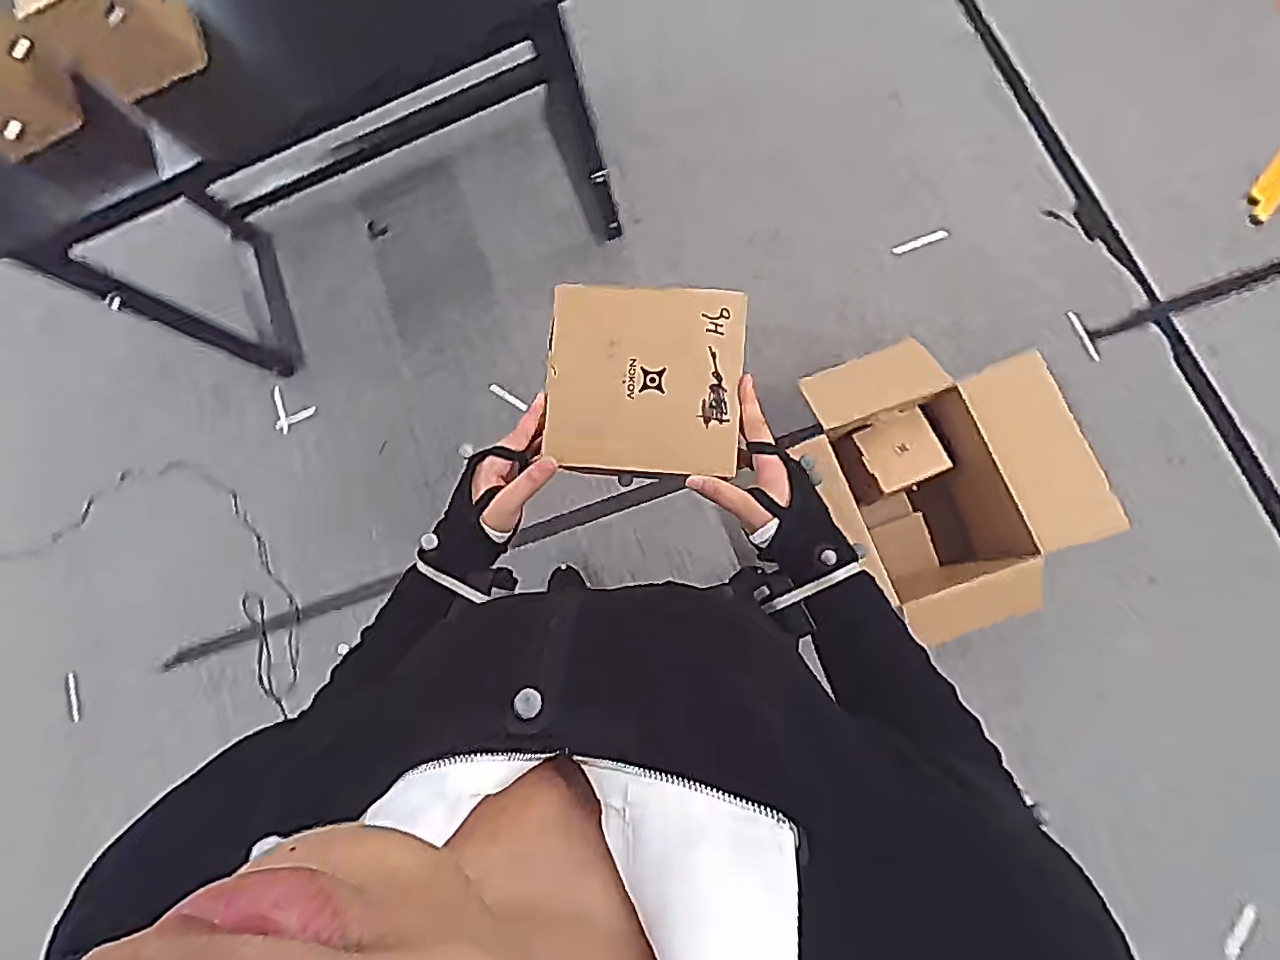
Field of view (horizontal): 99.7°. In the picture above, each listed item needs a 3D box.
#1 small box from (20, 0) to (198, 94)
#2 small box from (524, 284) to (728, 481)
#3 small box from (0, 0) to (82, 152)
[{"bbox_3d":[-0.929,-0.841,0.955,0.179,0.176,0.168,-21,79,3],"label":"small box"},{"bbox_3d":[-0.006,-0.089,0.564,0.179,0.176,0.168,4,88,6],"label":"small box"},{"bbox_3d":[-1.177,-0.744,0.972,0.168,0.176,0.179,-23,80,3],"label":"small box"}]
